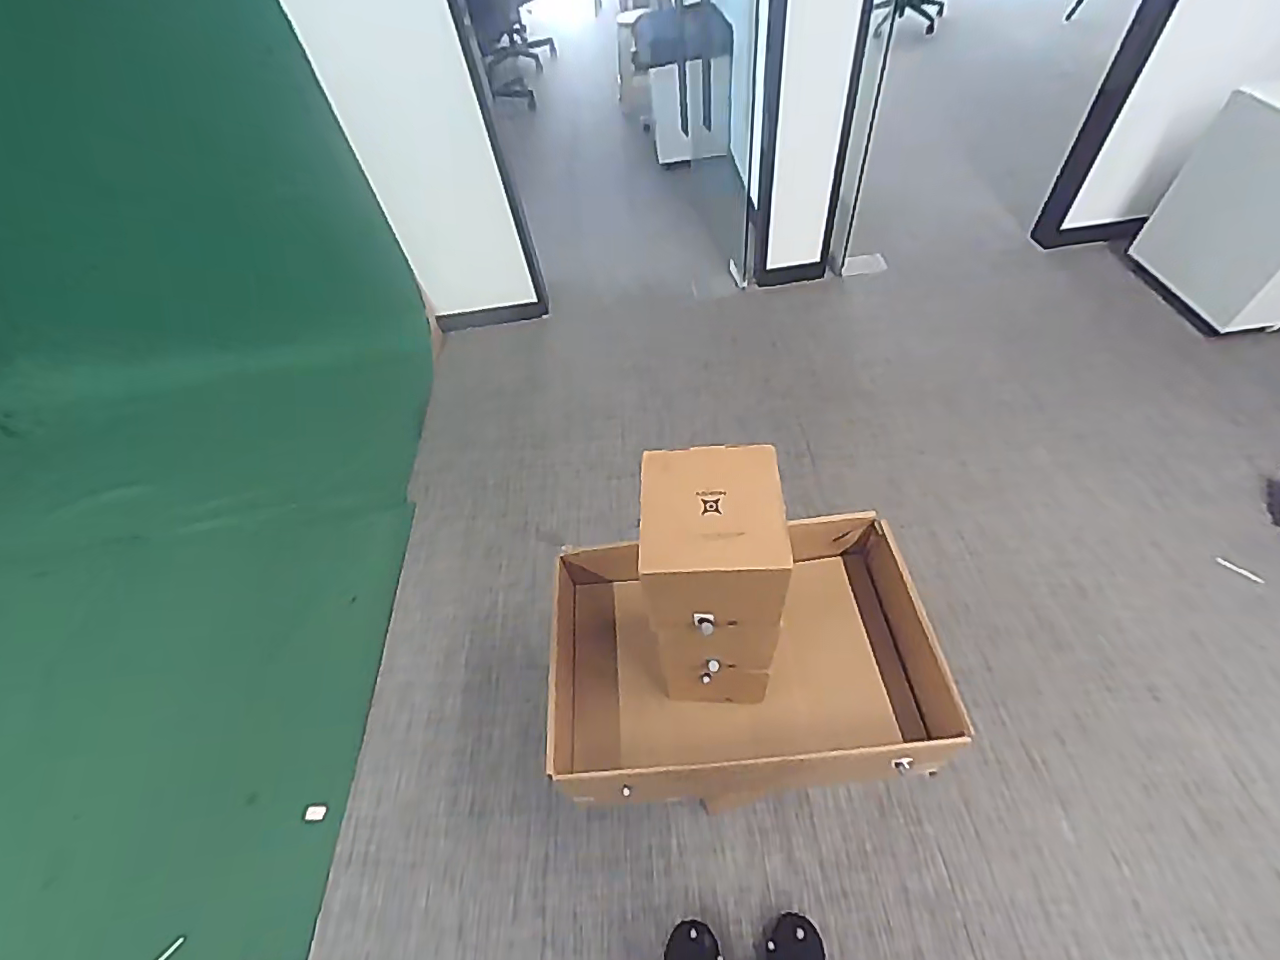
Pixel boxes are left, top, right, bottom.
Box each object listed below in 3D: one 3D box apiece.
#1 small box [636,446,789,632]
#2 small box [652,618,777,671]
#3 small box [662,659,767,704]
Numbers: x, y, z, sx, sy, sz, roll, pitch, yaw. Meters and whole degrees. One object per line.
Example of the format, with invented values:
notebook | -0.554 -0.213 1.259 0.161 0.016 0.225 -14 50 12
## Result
small box | 0.087 0.078 0.691 0.168 0.176 0.179 -3 53 6
small box | 0.106 0.174 0.819 0.168 0.176 0.179 -2 52 5
small box | 0.128 0.273 0.948 0.168 0.176 0.179 -1 52 7
